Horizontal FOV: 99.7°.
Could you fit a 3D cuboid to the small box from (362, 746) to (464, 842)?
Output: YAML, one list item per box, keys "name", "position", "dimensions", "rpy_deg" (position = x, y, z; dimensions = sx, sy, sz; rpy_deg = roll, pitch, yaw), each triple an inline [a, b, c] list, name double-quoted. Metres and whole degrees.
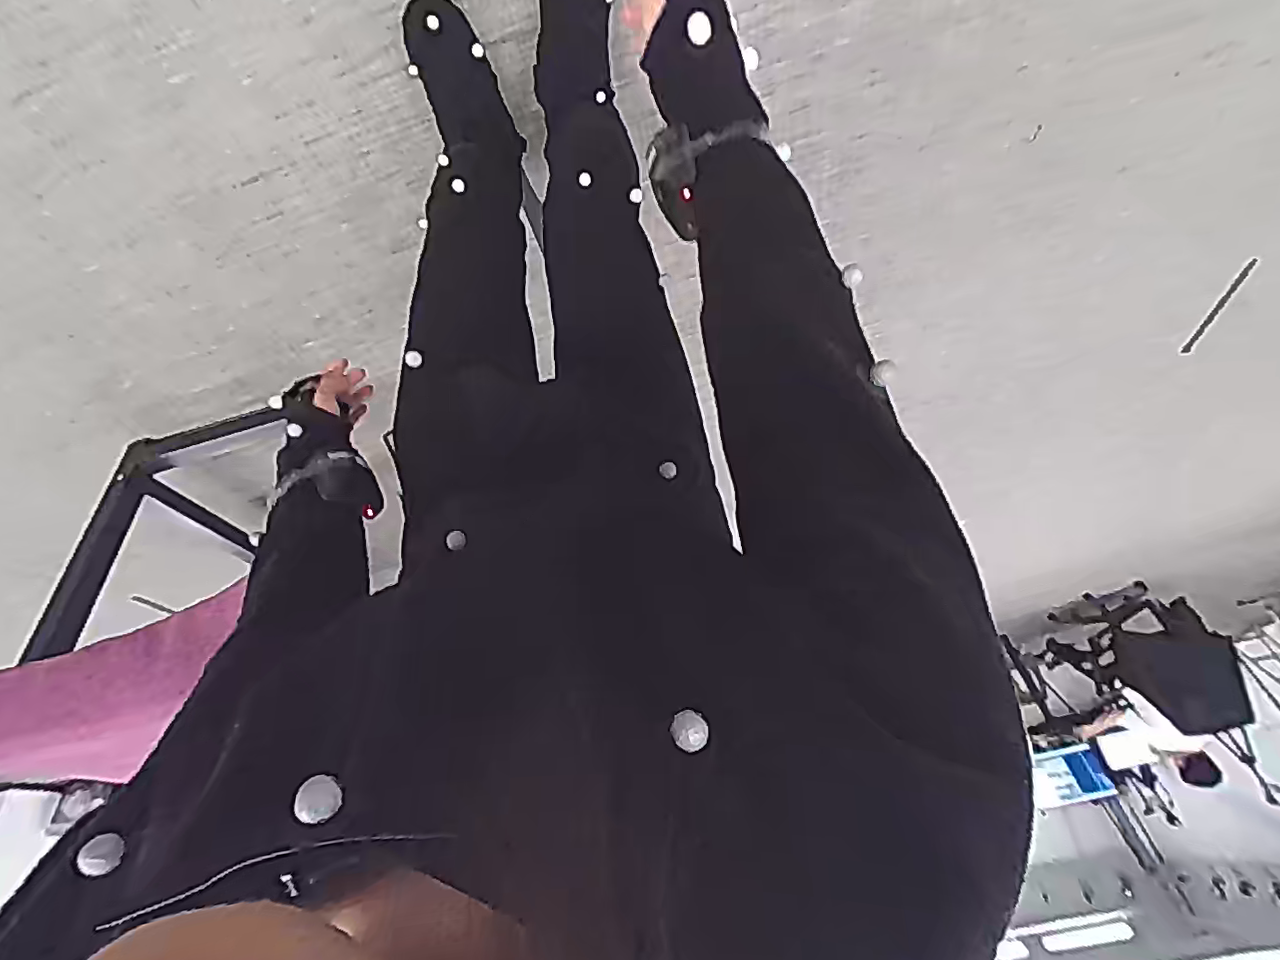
- name: "small box"
  position: [-0.546, 0.763, 1.319]
  dimensions: [0.168, 0.176, 0.179]
  rpy_deg: [-15, 144, 3]

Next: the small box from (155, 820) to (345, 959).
- name: "small box"
  position: [-0.603, 0.655, 0.864]
  dimensions: [0.168, 0.176, 0.179]
  rpy_deg: [-14, 145, 2]
